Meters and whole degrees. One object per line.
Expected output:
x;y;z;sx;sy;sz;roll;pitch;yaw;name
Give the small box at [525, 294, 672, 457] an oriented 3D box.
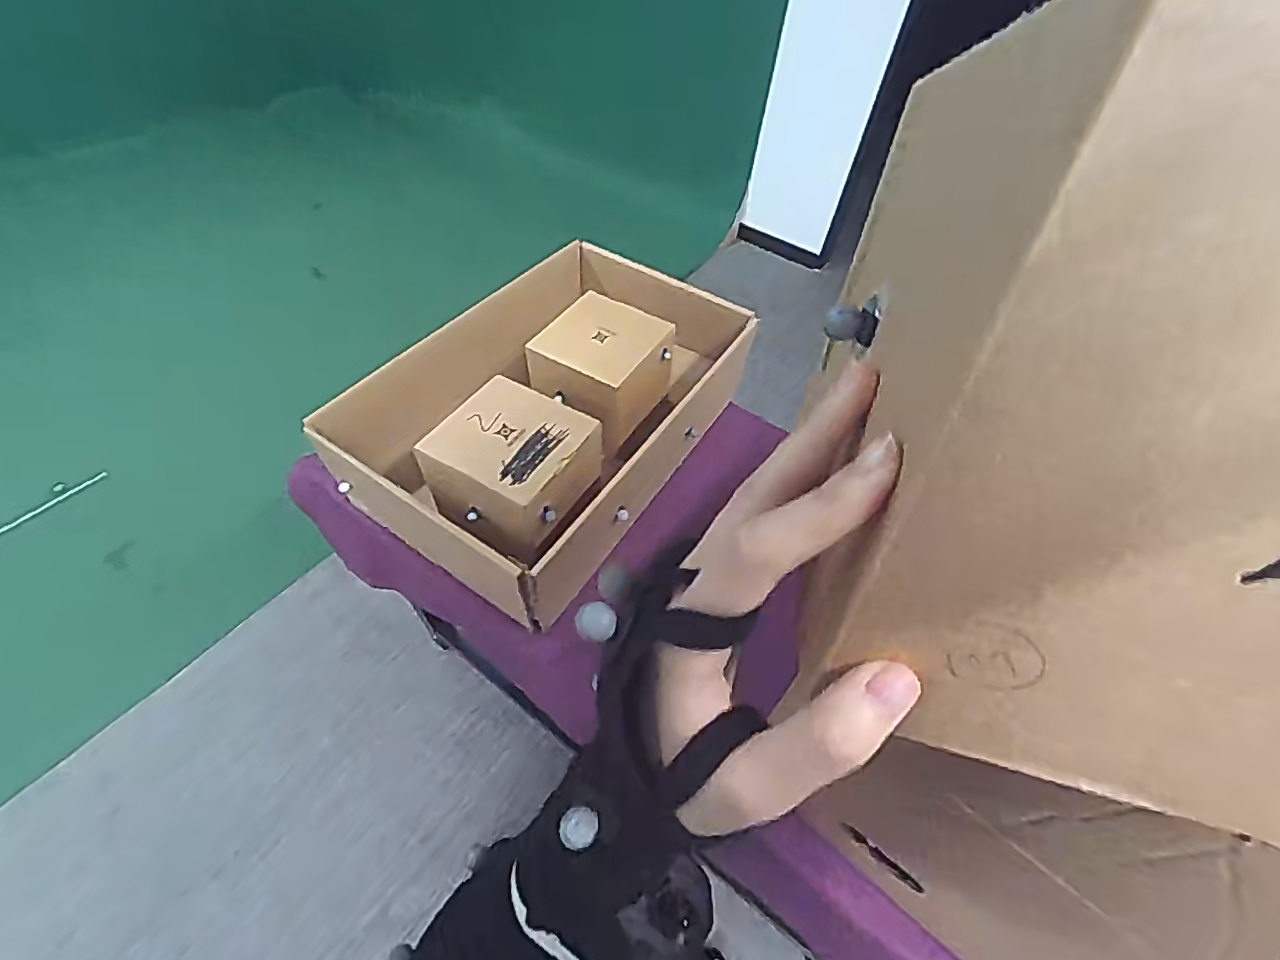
-0.062;-0.168;0.889;0.168;0.176;0.179;27;55;17;small box
